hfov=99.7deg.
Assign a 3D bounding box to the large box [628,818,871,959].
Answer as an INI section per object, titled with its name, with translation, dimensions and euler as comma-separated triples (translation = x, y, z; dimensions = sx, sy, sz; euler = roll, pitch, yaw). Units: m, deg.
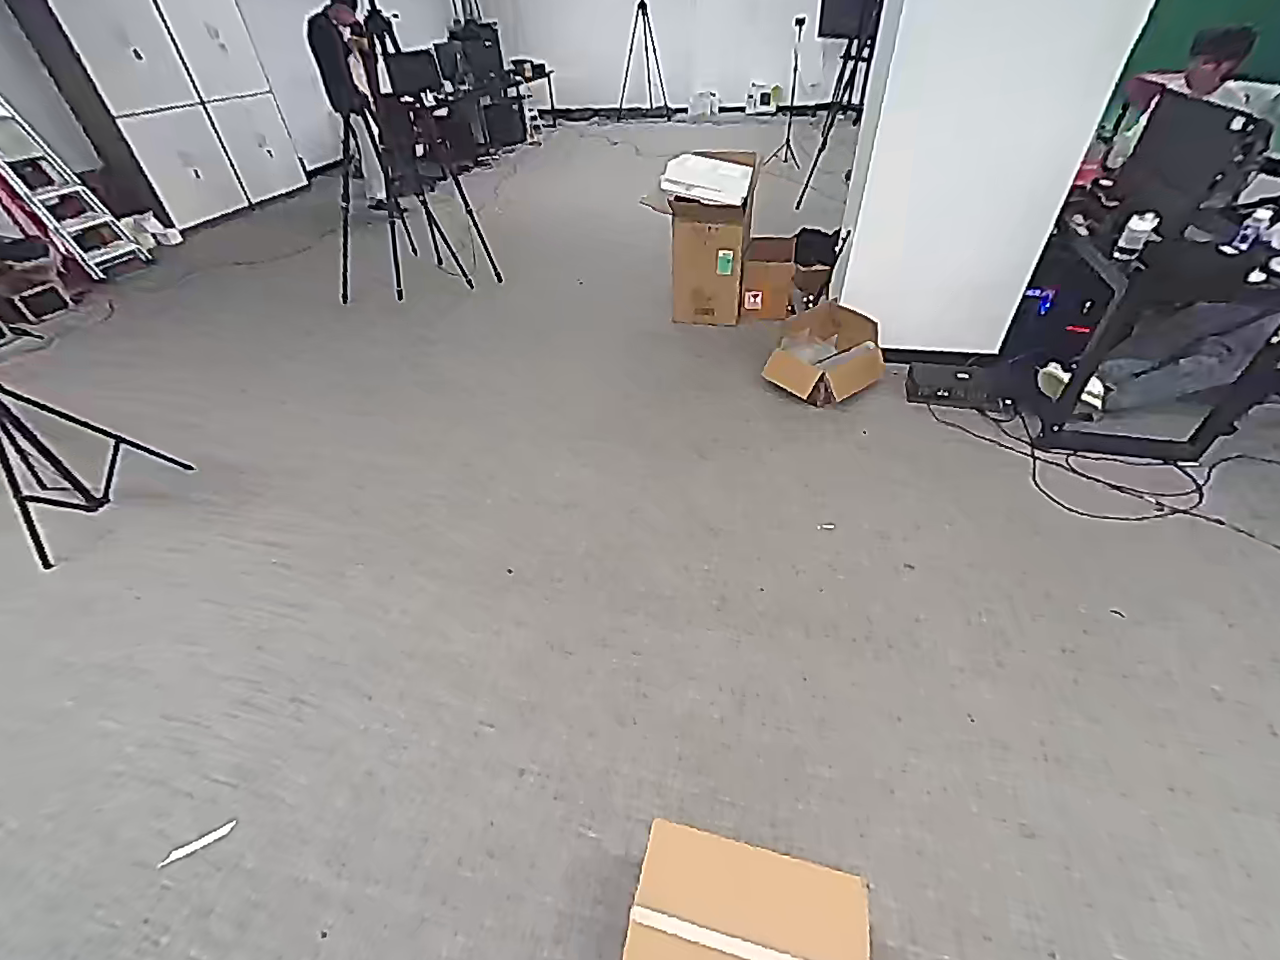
[large box]
translation = 0.191, 0.906, 1.021
dimensions = 0.408, 0.320, 0.320
euler = 9, 43, 12
